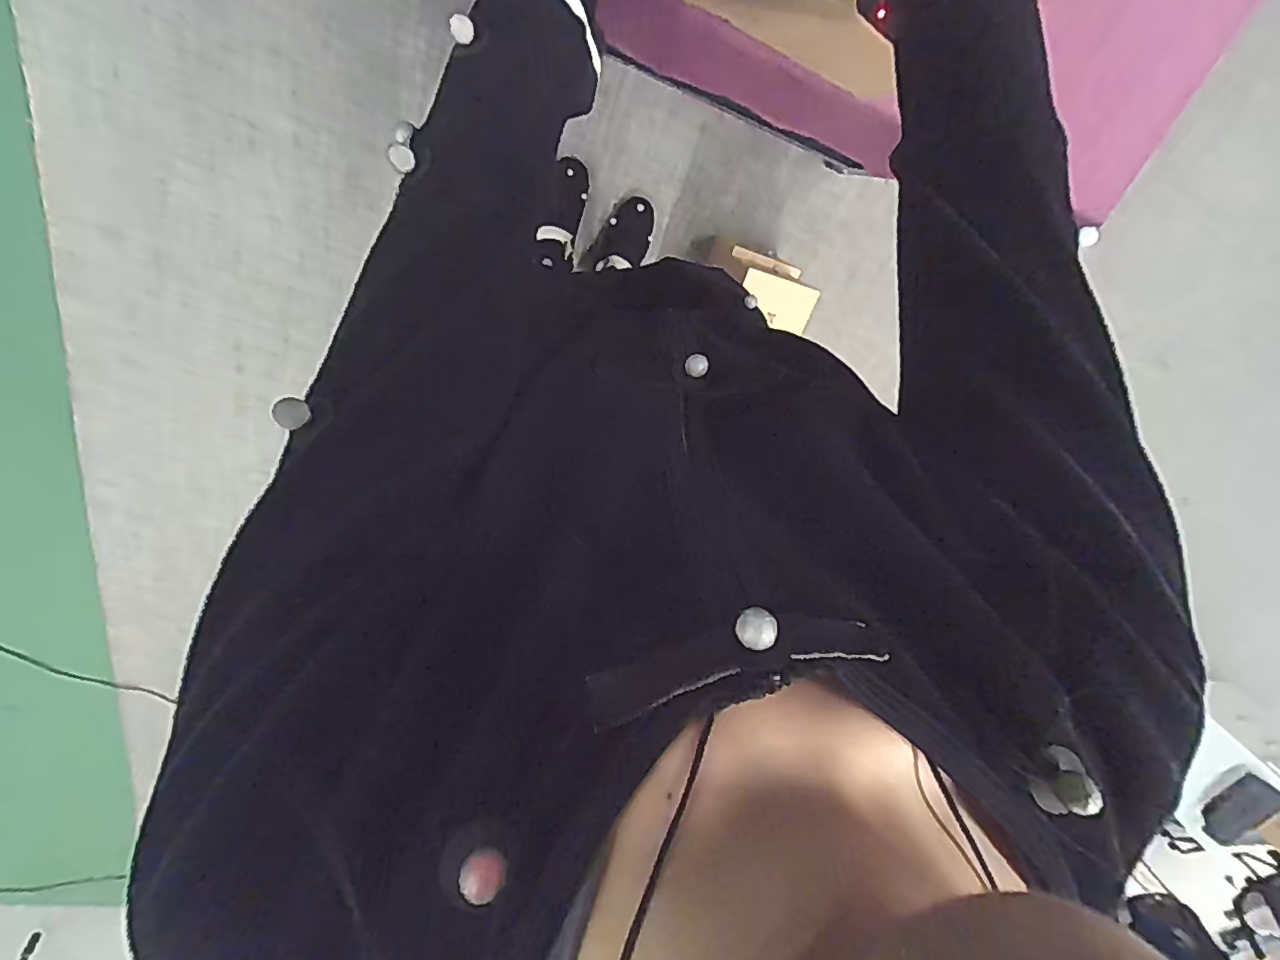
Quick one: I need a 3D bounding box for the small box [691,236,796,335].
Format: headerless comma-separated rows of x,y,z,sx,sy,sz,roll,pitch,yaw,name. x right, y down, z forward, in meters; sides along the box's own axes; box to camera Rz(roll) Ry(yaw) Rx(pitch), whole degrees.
0.243,-0.478,1.316,0.179,0.176,0.168,13,119,-16,small box
